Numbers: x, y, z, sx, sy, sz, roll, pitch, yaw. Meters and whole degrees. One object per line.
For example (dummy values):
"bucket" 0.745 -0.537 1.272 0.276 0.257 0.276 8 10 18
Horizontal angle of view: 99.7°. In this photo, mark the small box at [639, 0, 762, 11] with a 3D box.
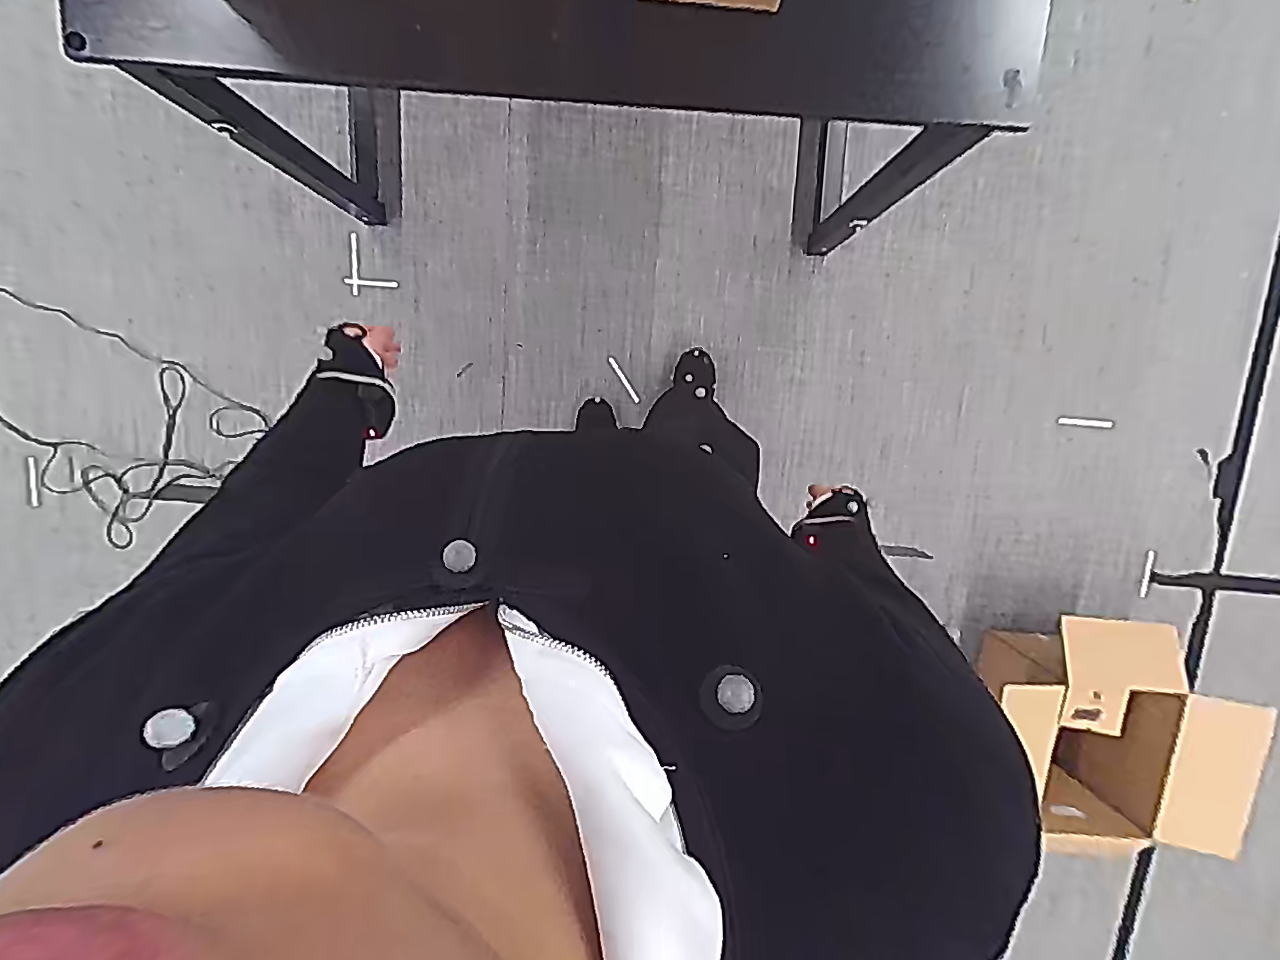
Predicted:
"small box" 0.083 -0.647 0.572 0.179 0.176 0.168 2 96 -3
